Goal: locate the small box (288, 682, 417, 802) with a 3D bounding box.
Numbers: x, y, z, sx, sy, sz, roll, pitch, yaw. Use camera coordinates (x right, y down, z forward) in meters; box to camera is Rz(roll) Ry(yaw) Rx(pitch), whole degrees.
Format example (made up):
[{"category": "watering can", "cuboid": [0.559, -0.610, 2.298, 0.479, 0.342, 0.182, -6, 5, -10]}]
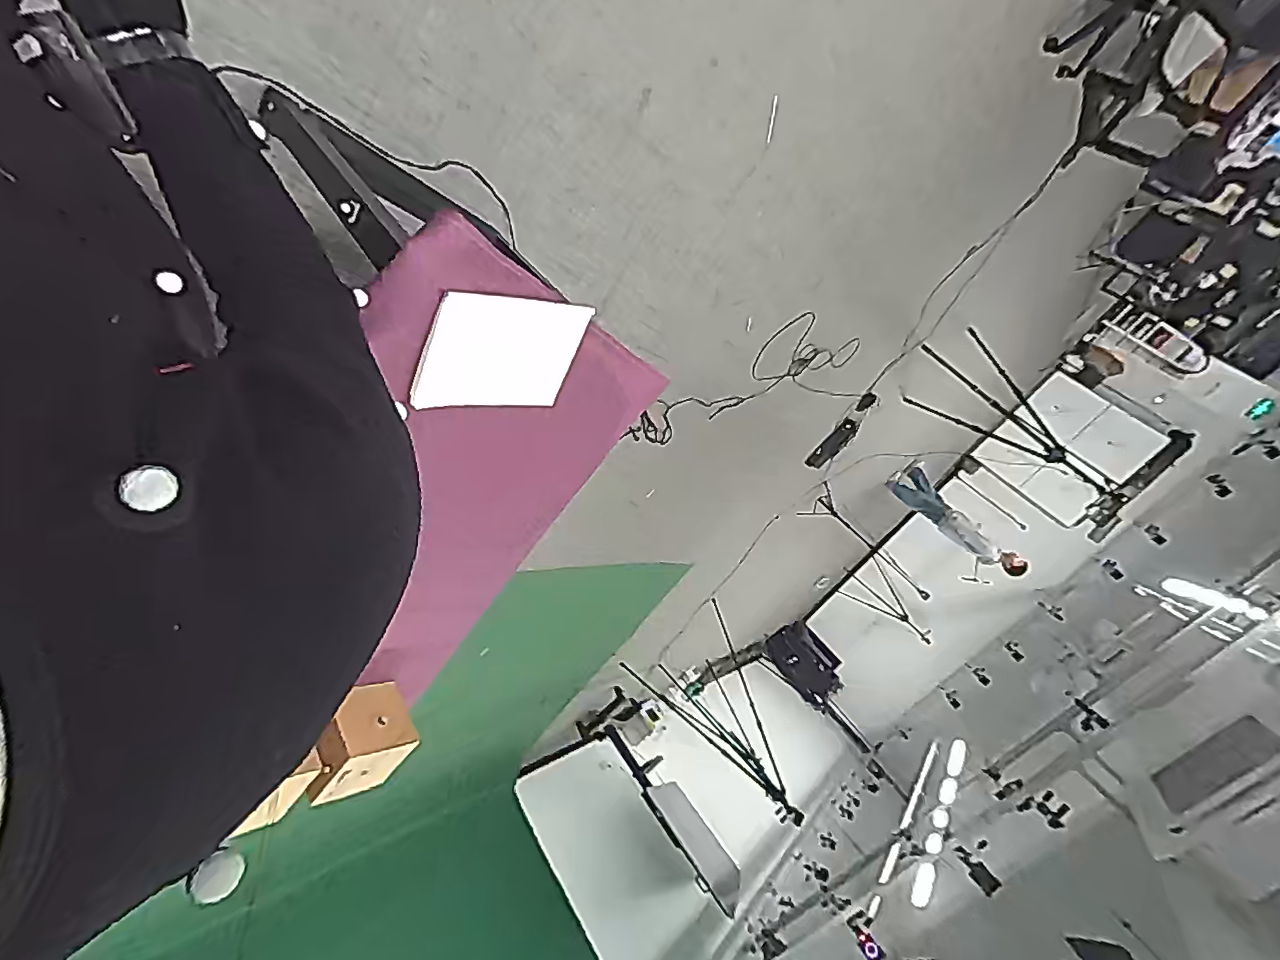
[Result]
[{"category": "small box", "cuboid": [-0.660, 0.587, 1.240, 0.168, 0.176, 0.179, -49, 152, 12]}]
